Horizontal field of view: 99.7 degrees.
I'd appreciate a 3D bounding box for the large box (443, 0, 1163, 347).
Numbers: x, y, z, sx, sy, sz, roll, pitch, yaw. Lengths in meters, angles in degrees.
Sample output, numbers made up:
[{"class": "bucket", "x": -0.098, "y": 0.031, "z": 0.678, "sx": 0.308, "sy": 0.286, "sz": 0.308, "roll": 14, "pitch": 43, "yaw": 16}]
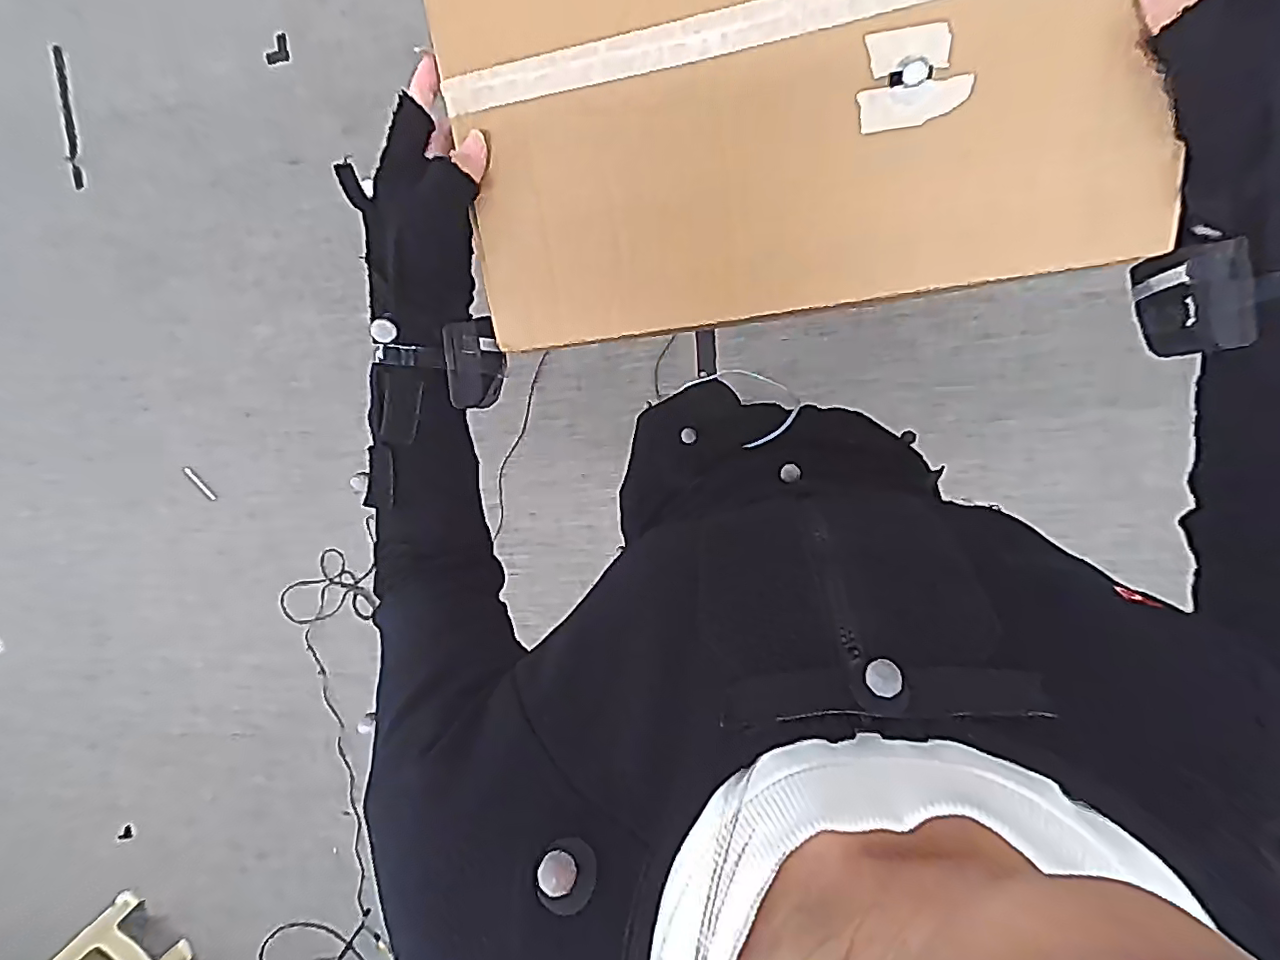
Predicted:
[{"class": "large box", "x": 0.098, "y": -0.302, "z": 0.457, "sx": 0.408, "sy": 0.320, "sz": 0.320, "roll": -6, "pitch": 105, "yaw": 9}]
